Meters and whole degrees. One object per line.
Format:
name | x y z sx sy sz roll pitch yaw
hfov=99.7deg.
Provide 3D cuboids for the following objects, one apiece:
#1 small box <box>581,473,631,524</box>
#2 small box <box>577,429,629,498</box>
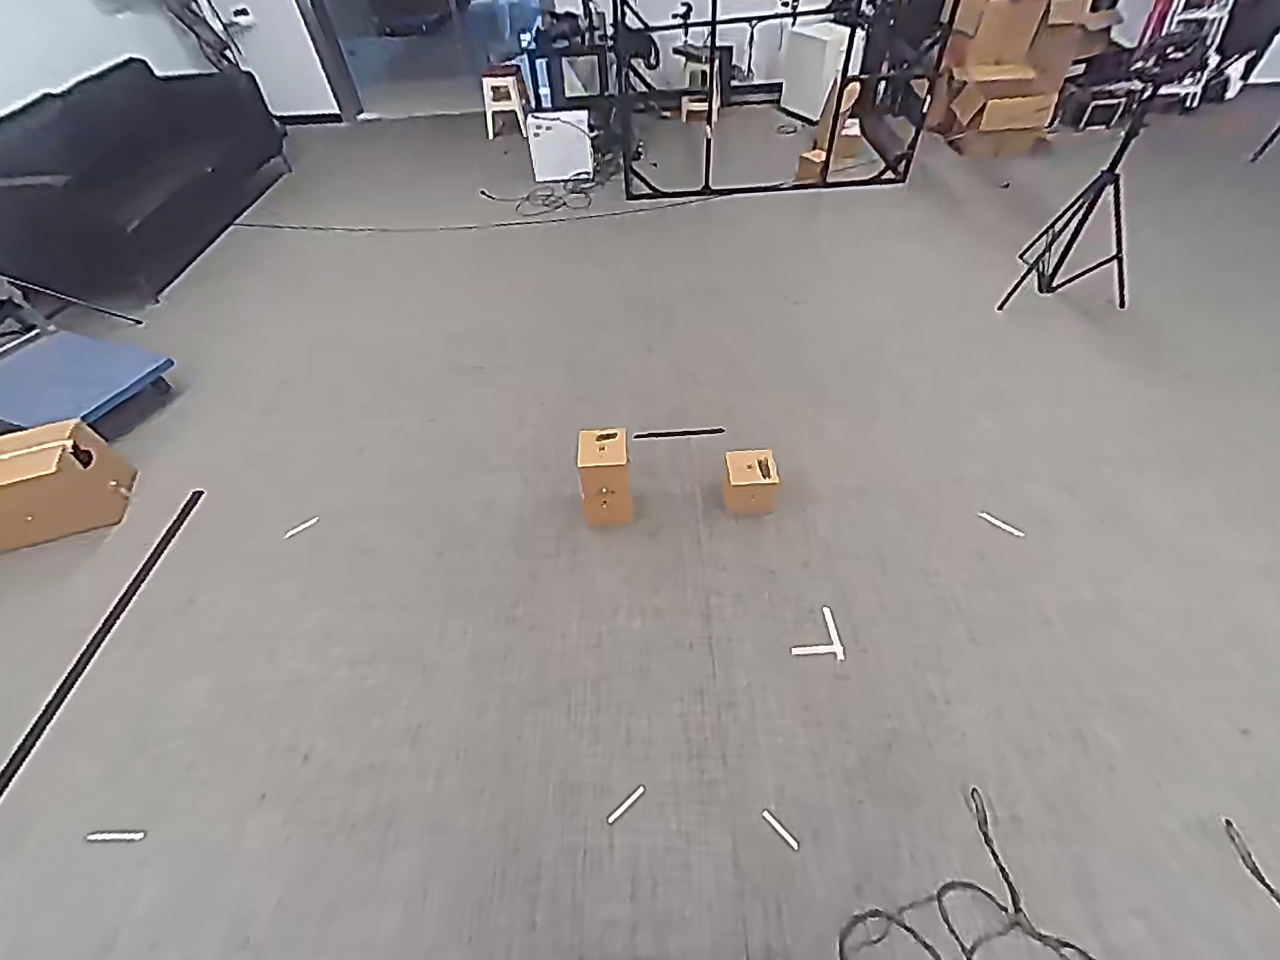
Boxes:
small box | -0.122 0.051 2.026 0.179 0.176 0.168 -4 49 1
small box | -0.127 -0.058 1.903 0.168 0.176 0.179 -4 50 2
